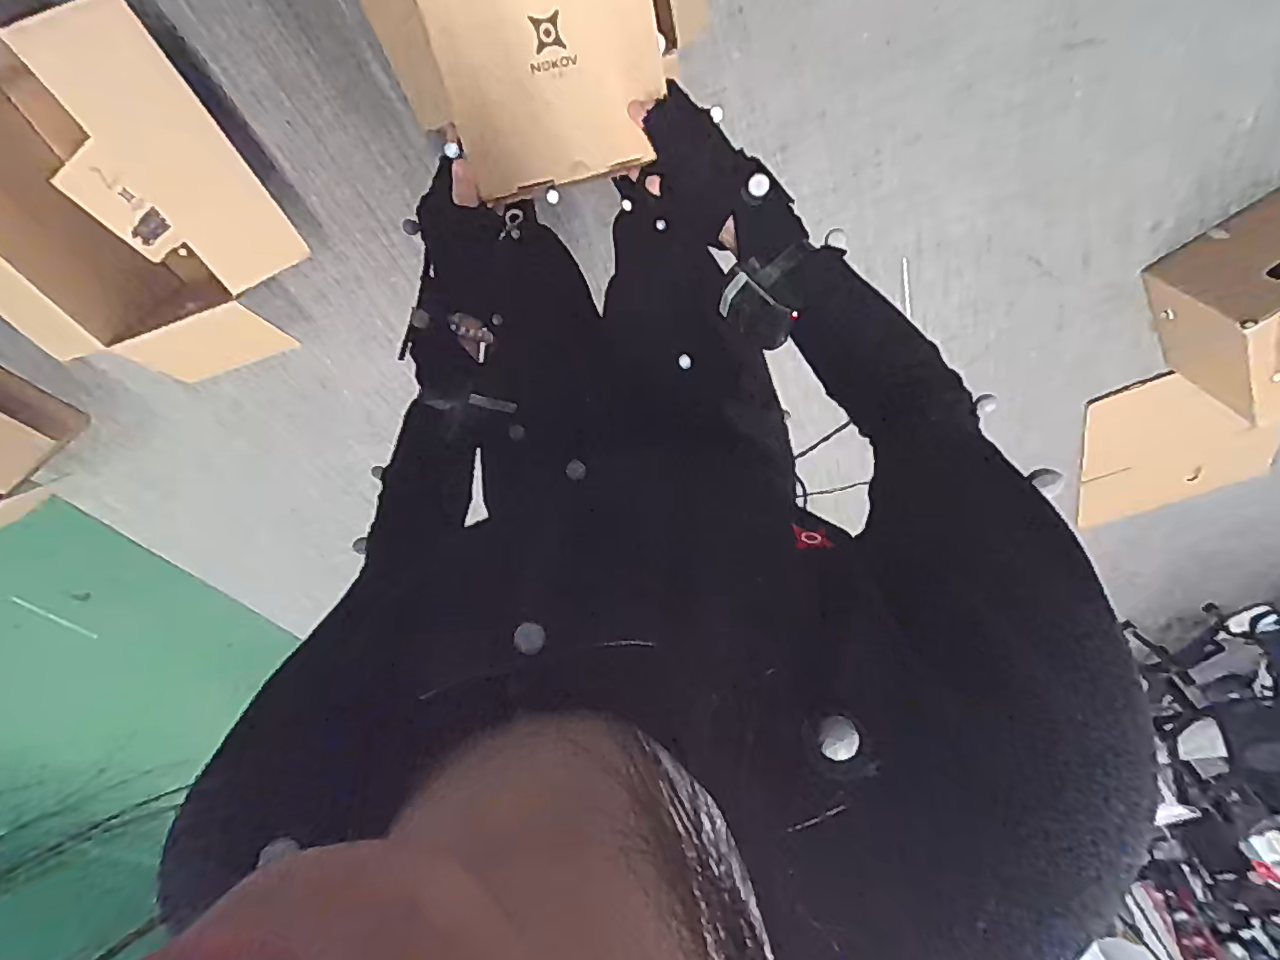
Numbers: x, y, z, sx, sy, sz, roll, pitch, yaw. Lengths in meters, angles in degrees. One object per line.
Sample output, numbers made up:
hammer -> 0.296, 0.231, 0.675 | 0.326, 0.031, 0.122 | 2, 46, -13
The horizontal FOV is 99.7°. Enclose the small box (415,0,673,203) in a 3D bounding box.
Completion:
small box -> -0.087, -0.352, 0.464 | 0.168, 0.176, 0.179 | -18, 119, -7
